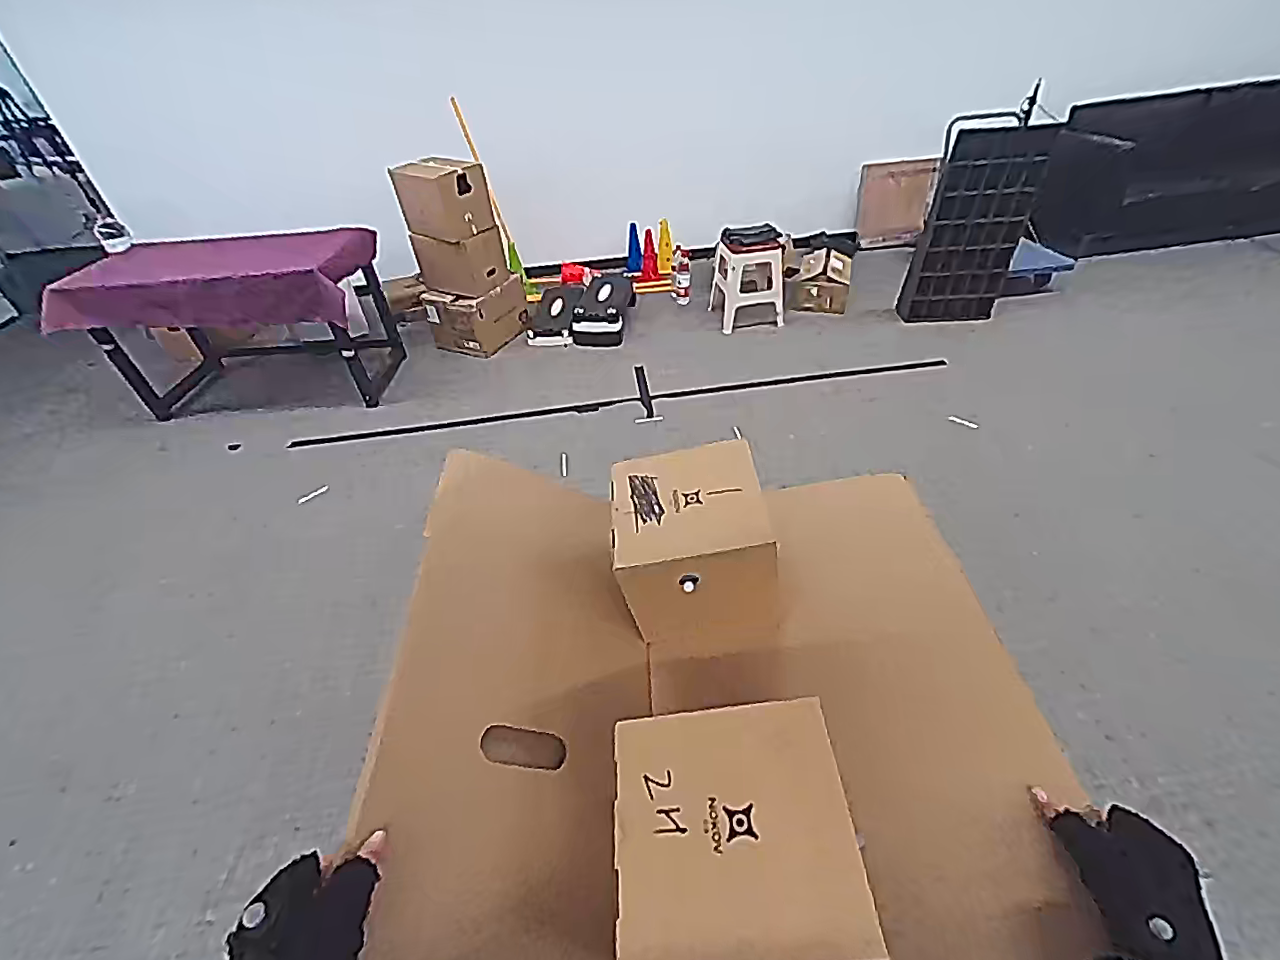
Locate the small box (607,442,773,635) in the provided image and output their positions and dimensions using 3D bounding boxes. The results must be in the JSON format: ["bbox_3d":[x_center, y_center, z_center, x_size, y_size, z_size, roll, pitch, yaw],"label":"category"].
[{"bbox_3d":[0.064,0.080,0.693,0.179,0.176,0.168,-11,45,6],"label":"small box"}]

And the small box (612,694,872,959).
[{"bbox_3d":[0.081,0.307,0.470,0.179,0.176,0.168,-11,45,8],"label":"small box"}]
